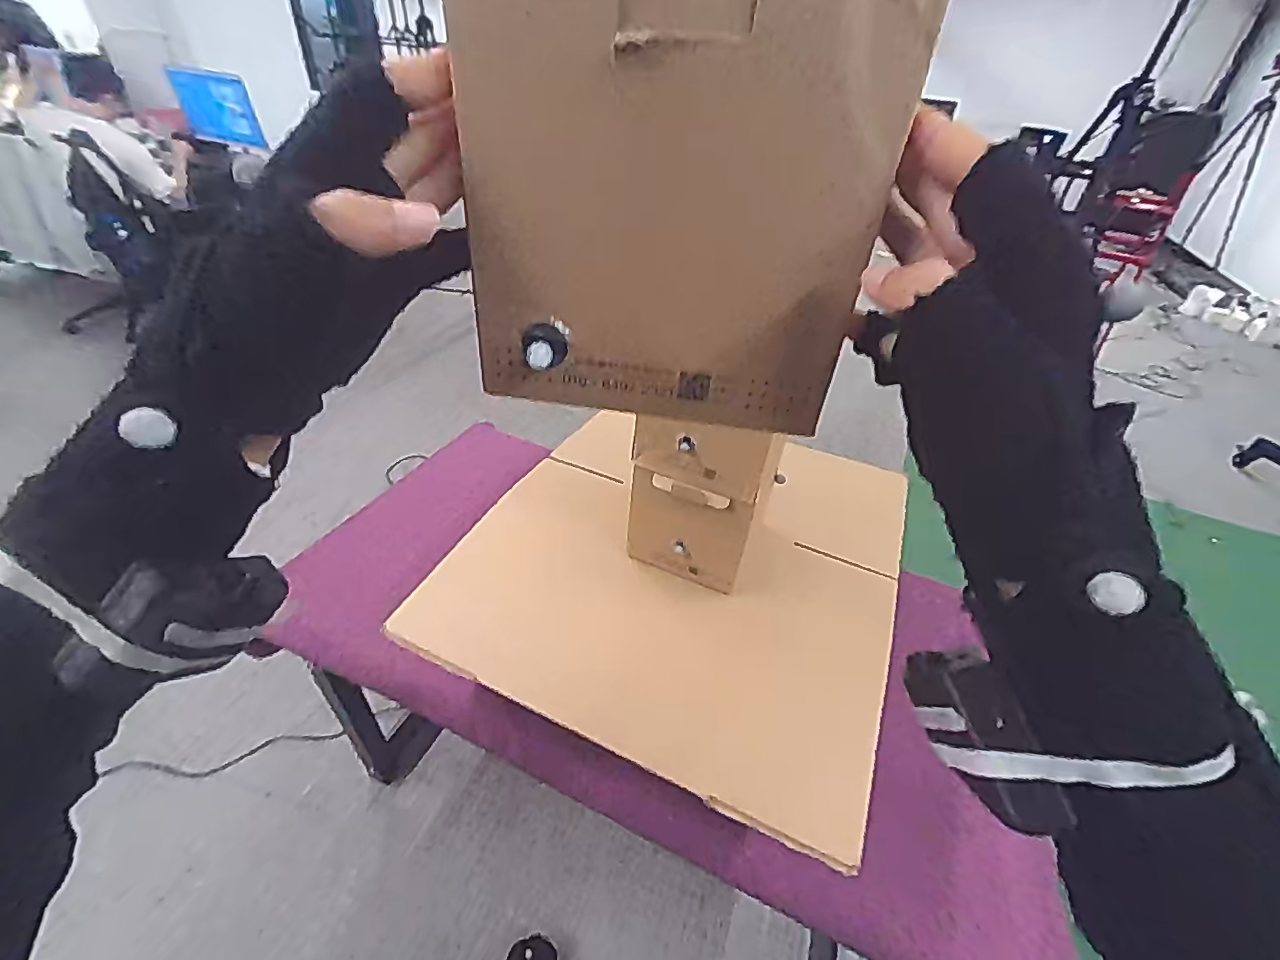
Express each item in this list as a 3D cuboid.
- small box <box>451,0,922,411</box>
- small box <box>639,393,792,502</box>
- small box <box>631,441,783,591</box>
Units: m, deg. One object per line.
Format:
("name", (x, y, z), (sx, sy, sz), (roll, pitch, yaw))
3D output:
("small box", (0.020, -0.154, 0.294), (0.168, 0.176, 0.179), (8, 36, 3))
("small box", (0.105, -0.103, 0.694), (0.168, 0.176, 0.179), (19, 40, 17))
("small box", (0.094, 0.026, 0.793), (0.168, 0.176, 0.179), (19, 39, 17))
